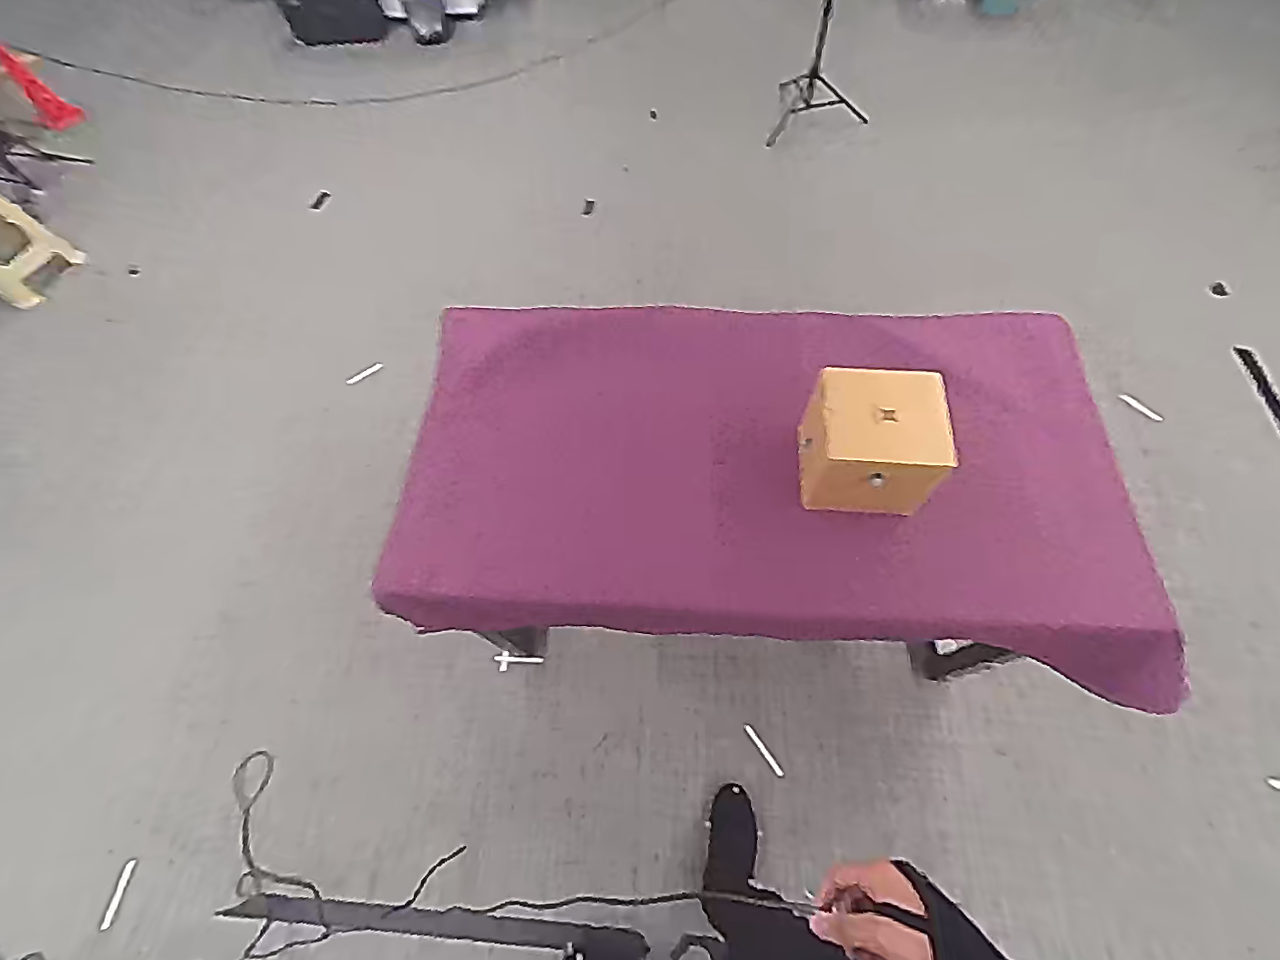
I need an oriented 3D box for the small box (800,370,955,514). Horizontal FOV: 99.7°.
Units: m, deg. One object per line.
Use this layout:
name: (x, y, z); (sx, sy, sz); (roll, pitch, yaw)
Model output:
small box: (0.360, -0.054, 0.854); (0.179, 0.176, 0.168); (3, 63, 6)
